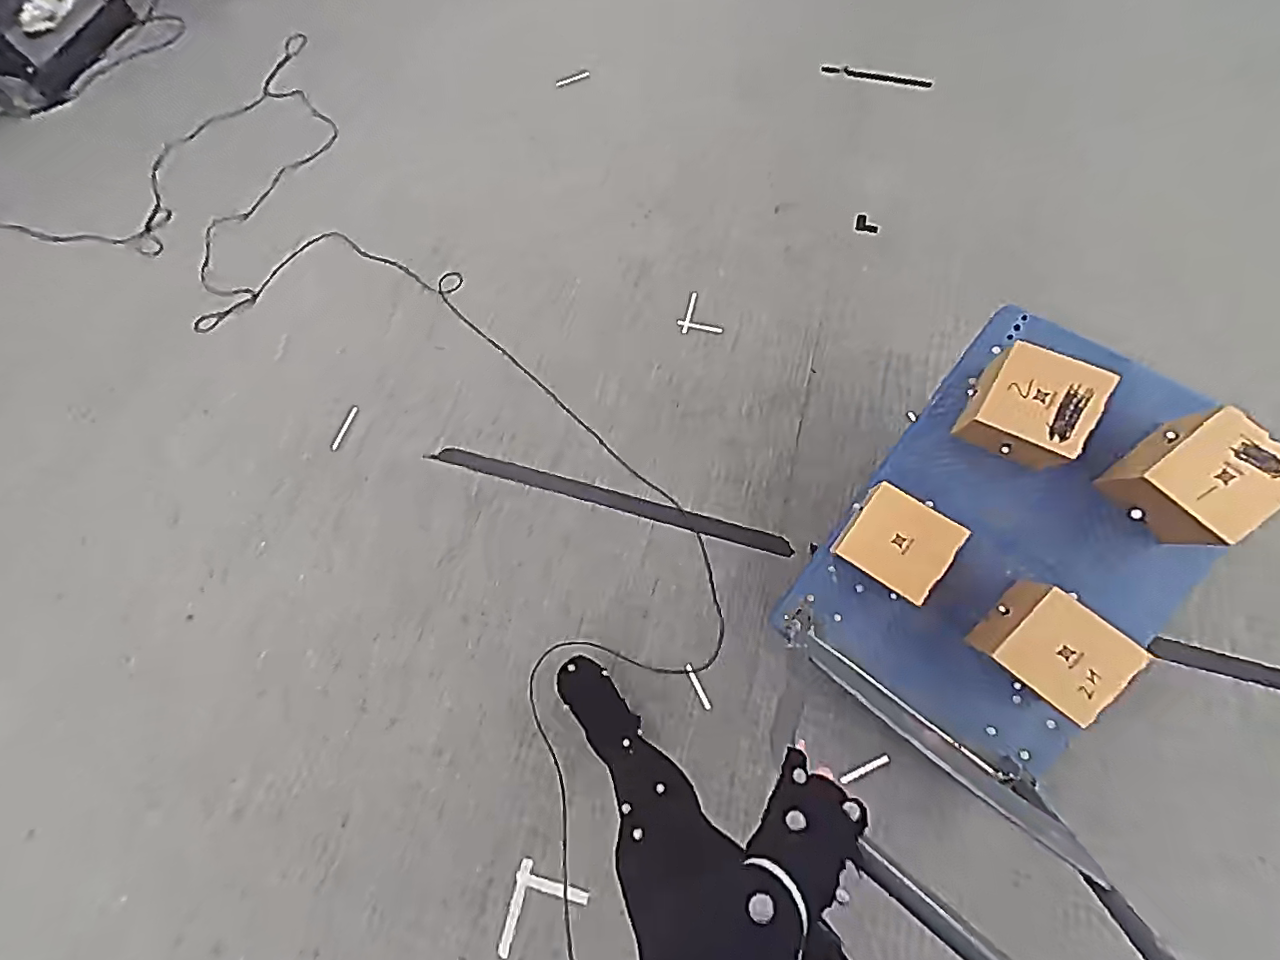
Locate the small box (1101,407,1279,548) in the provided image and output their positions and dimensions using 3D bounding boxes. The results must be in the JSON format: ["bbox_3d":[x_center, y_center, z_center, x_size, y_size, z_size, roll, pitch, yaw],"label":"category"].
[{"bbox_3d":[0.989,0.001,0.958,0.179,0.176,0.168,-44,75,8],"label":"small box"}]

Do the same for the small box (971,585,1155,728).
[{"bbox_3d":[0.751,0.308,0.988,0.179,0.176,0.168,41,96,16],"label":"small box"}]

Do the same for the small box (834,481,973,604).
[{"bbox_3d":[0.509,0.124,1.078,0.179,0.176,0.168,34,93,15],"label":"small box"}]
